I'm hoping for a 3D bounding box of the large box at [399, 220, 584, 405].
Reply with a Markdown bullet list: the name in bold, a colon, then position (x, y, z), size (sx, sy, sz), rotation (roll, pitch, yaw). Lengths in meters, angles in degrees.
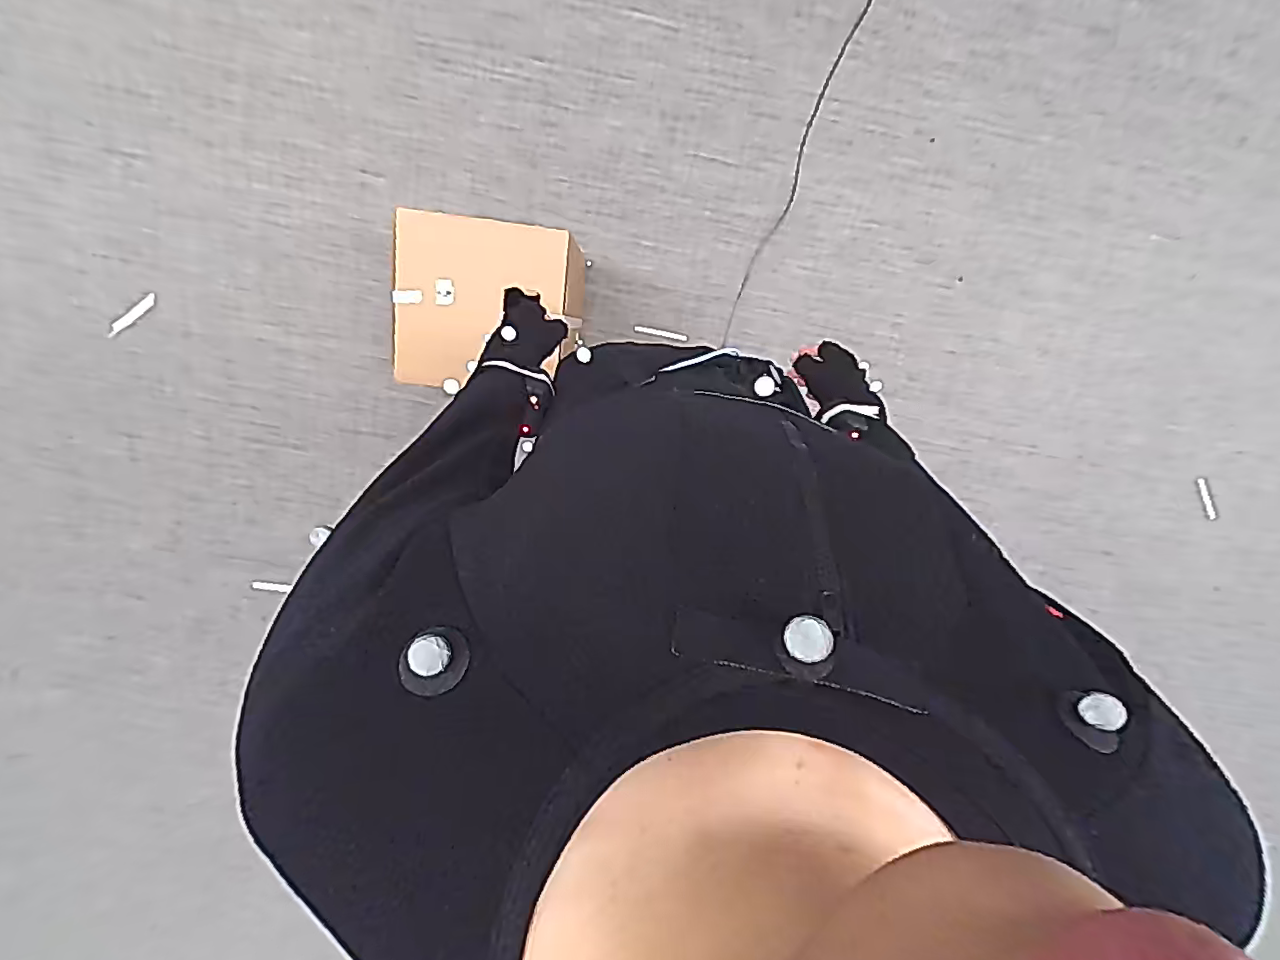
- **large box**: position (-0.304, -0.366, 1.200), size (0.320, 0.408, 0.320), rotation (7, 106, -4)
